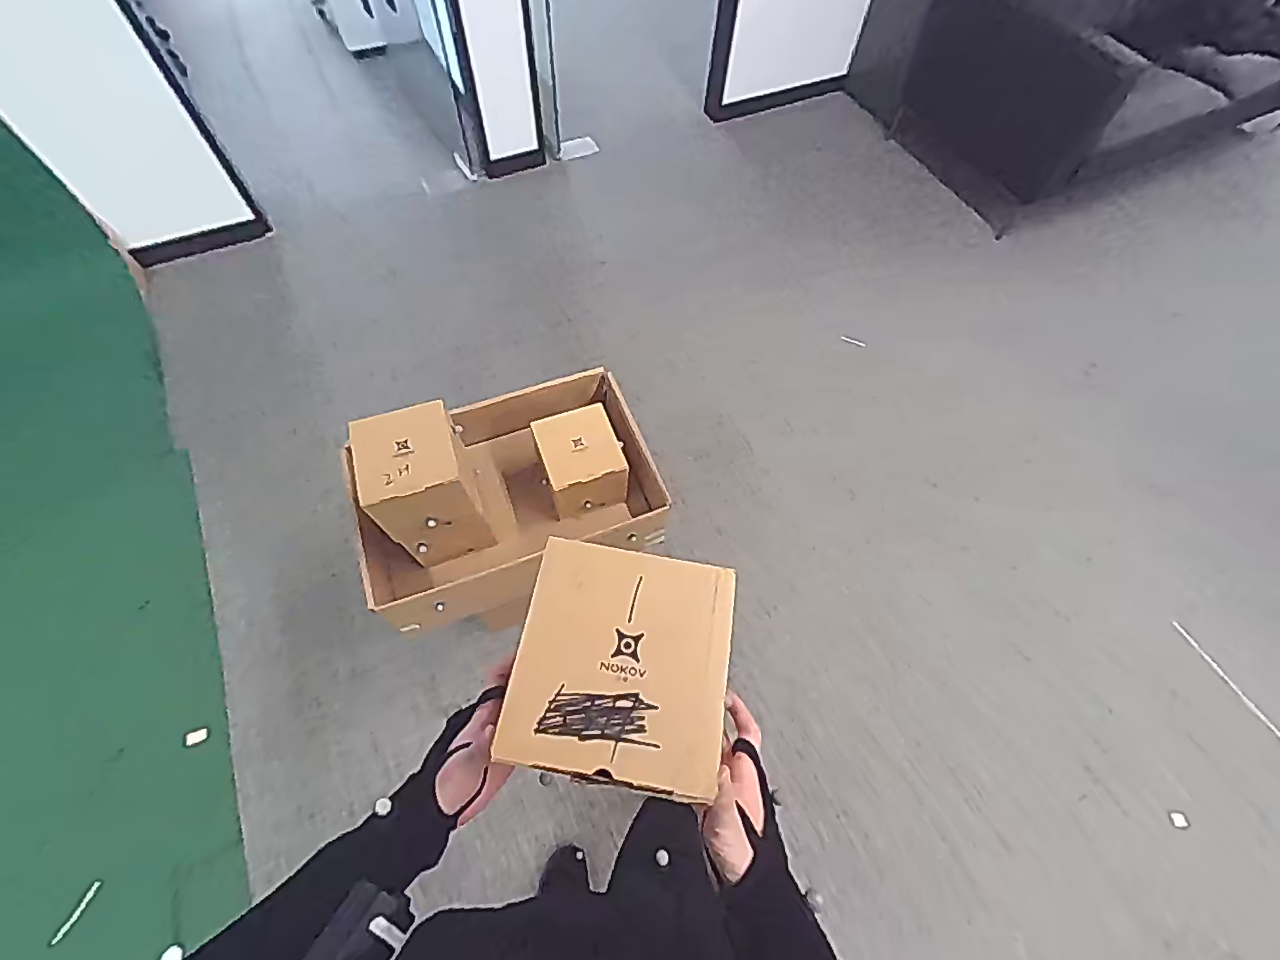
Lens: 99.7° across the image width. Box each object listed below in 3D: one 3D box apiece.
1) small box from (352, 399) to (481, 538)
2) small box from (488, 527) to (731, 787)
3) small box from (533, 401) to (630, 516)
[{"bbox_3d":[-0.408,-0.018,1.003,0.168,0.176,0.179,-17,65,-10],"label":"small box"},{"bbox_3d":[-0.020,0.166,0.495,0.168,0.176,0.179,10,62,2],"label":"small box"},{"bbox_3d":[-0.131,-0.045,1.216,0.168,0.176,0.179,-18,66,-12],"label":"small box"}]
